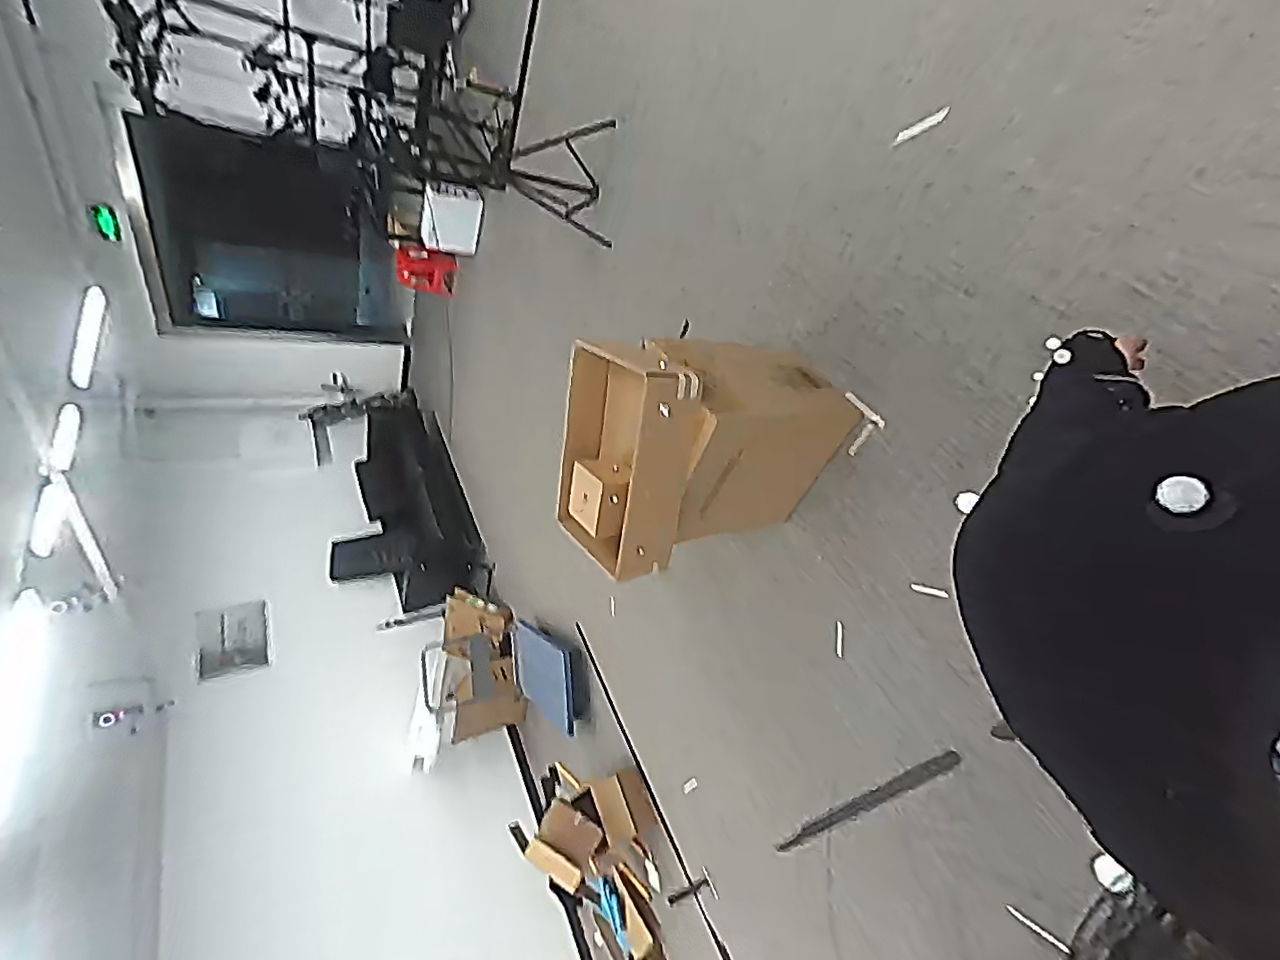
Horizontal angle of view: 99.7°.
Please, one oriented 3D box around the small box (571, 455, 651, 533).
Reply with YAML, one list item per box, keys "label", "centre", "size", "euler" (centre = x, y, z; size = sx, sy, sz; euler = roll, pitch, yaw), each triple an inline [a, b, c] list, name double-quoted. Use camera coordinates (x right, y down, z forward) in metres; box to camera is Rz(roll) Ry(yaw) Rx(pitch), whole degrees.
- label: "small box"
  centre: [-0.087, 0.035, 1.616]
  size: [0.168, 0.176, 0.179]
  euler: [38, 126, 46]
